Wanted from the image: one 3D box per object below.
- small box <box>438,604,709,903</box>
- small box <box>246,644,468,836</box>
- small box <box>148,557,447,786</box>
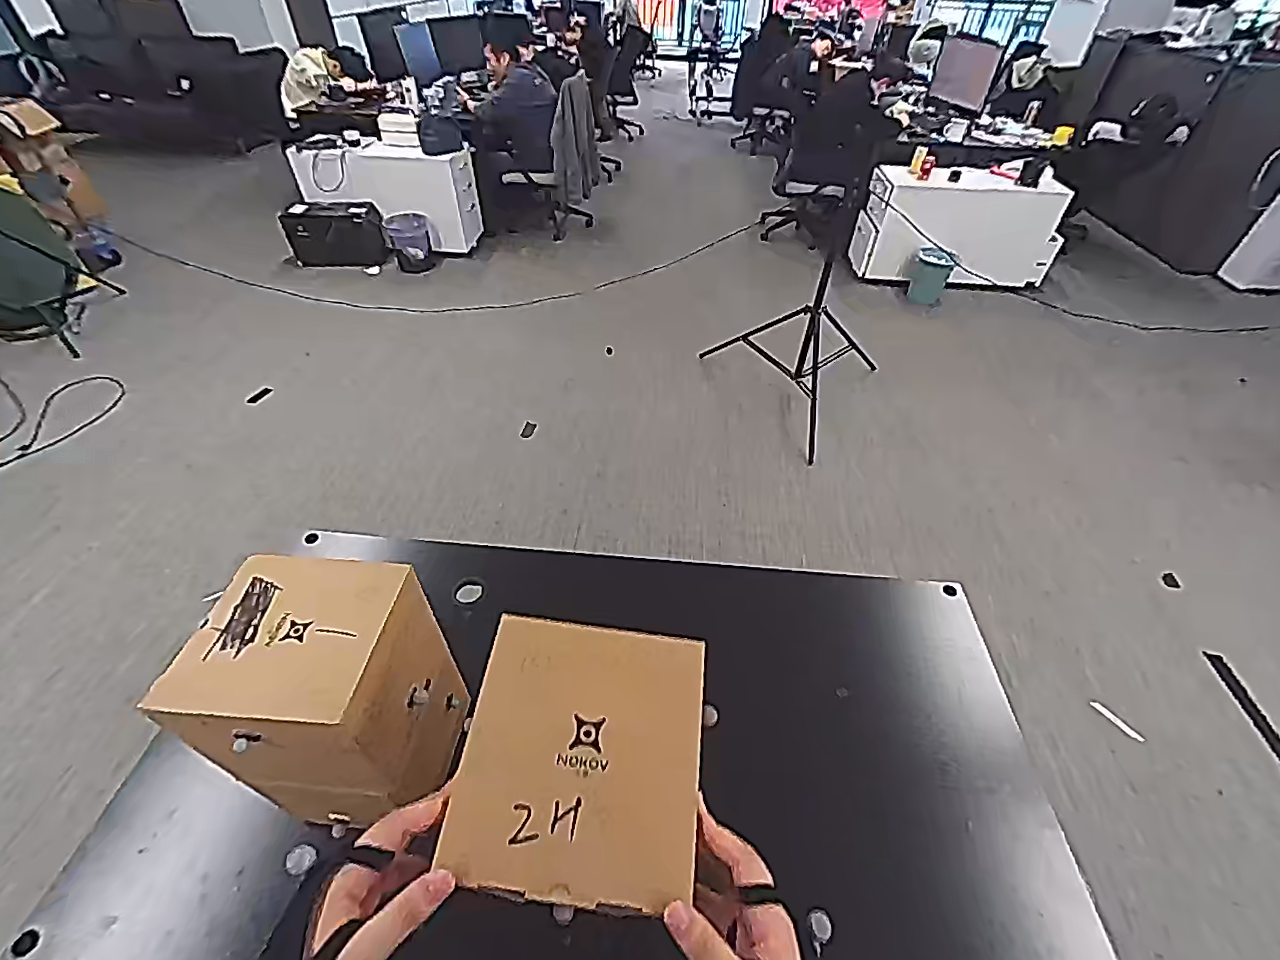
[{"bbox_3d":[-0.042,0.227,0.447,0.168,0.176,0.179,7,54,1],"label":"small box"},{"bbox_3d":[-0.329,0.317,0.677,0.168,0.176,0.179,3,45,3],"label":"small box"},{"bbox_3d":[-0.325,0.200,0.562,0.179,0.176,0.168,4,44,2],"label":"small box"}]
